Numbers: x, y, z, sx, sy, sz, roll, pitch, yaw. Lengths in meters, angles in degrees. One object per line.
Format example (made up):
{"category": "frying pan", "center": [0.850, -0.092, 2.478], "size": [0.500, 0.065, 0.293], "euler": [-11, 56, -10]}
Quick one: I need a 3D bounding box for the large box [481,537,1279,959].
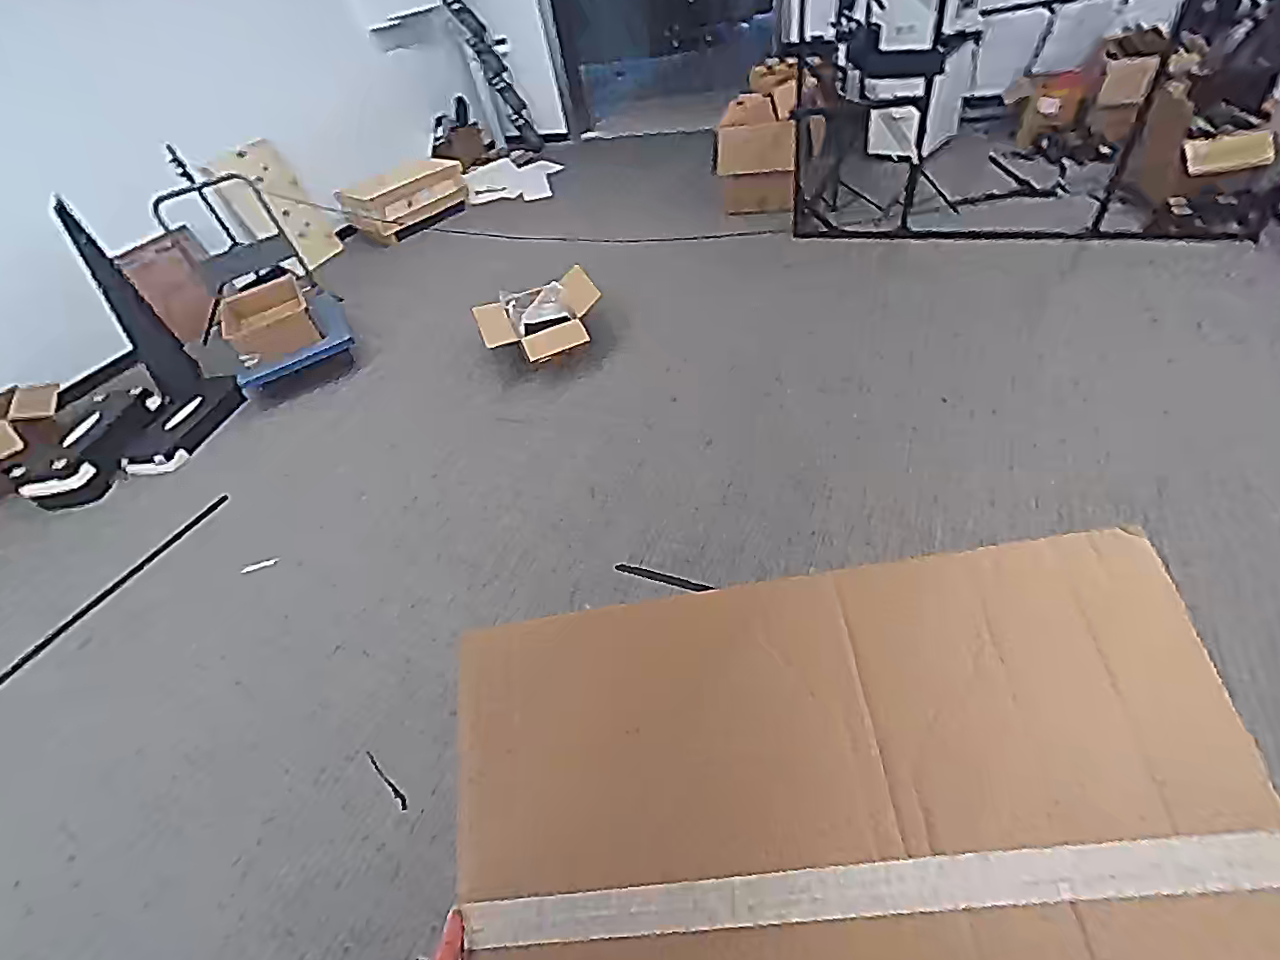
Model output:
{"category": "large box", "center": [0.133, 0.264, 0.413], "size": [0.408, 0.320, 0.320], "euler": [-11, 68, 9]}
